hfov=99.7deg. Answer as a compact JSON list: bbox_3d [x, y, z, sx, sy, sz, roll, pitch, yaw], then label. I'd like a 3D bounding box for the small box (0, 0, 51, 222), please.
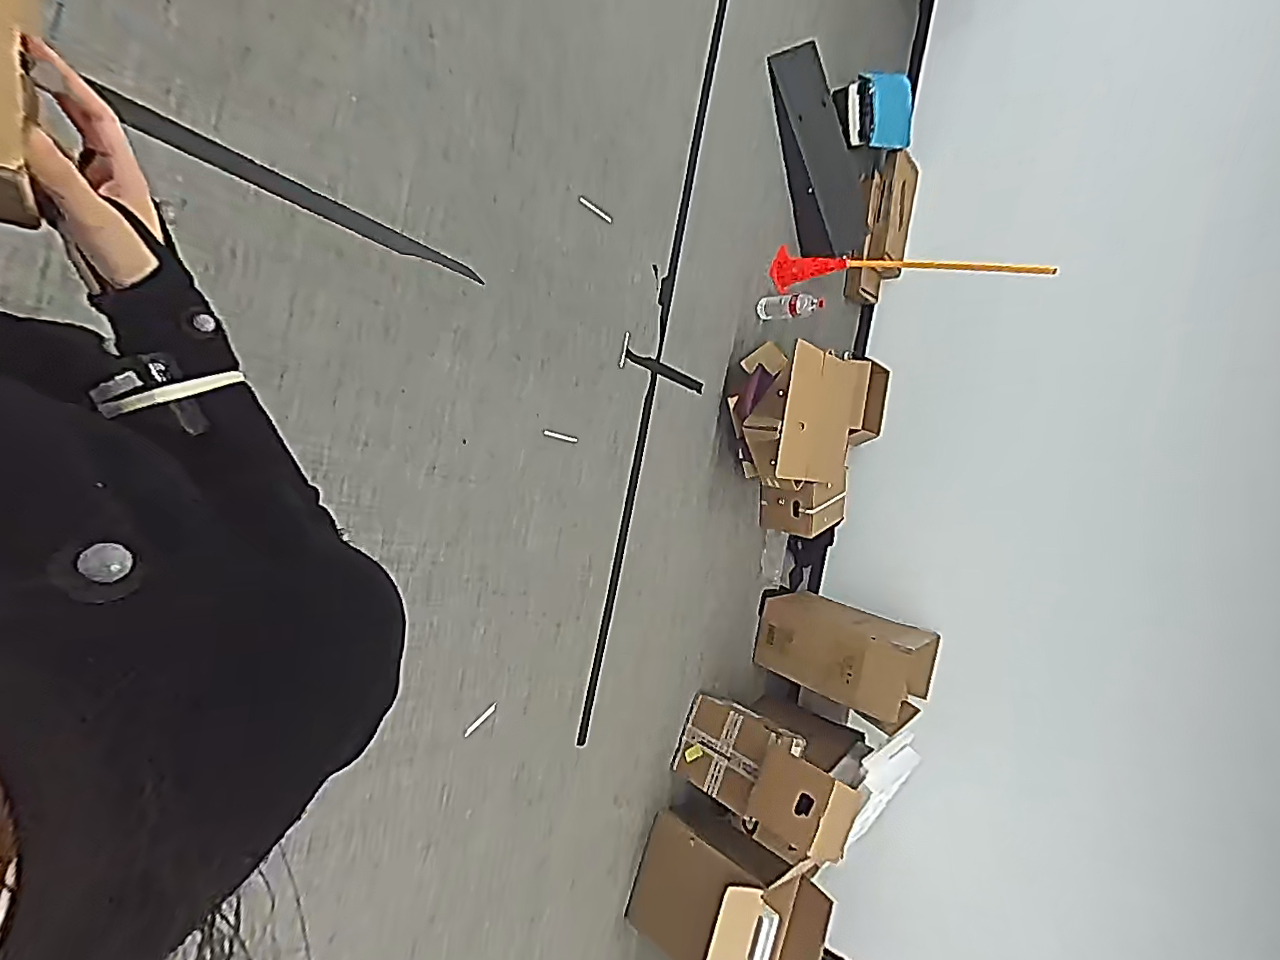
[{"bbox_3d":[-0.401,-0.241,0.253,0.168,0.176,0.179,-2,102,-46],"label":"small box"}]
